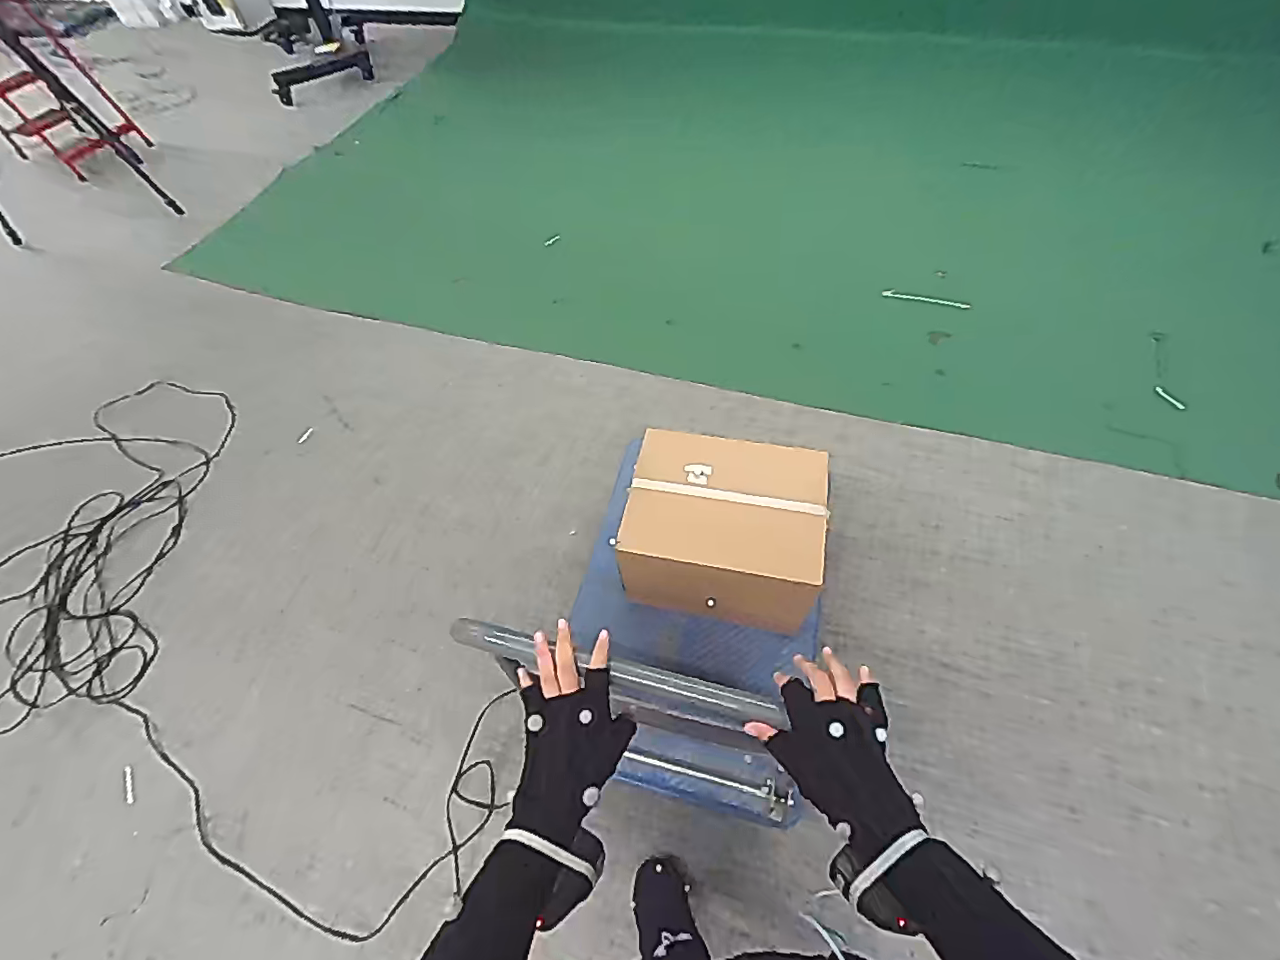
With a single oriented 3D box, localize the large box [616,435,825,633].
[{"bbox_3d":[0.189,0.130,1.249,0.408,0.320,0.320,9,57,11],"label":"large box"}]
